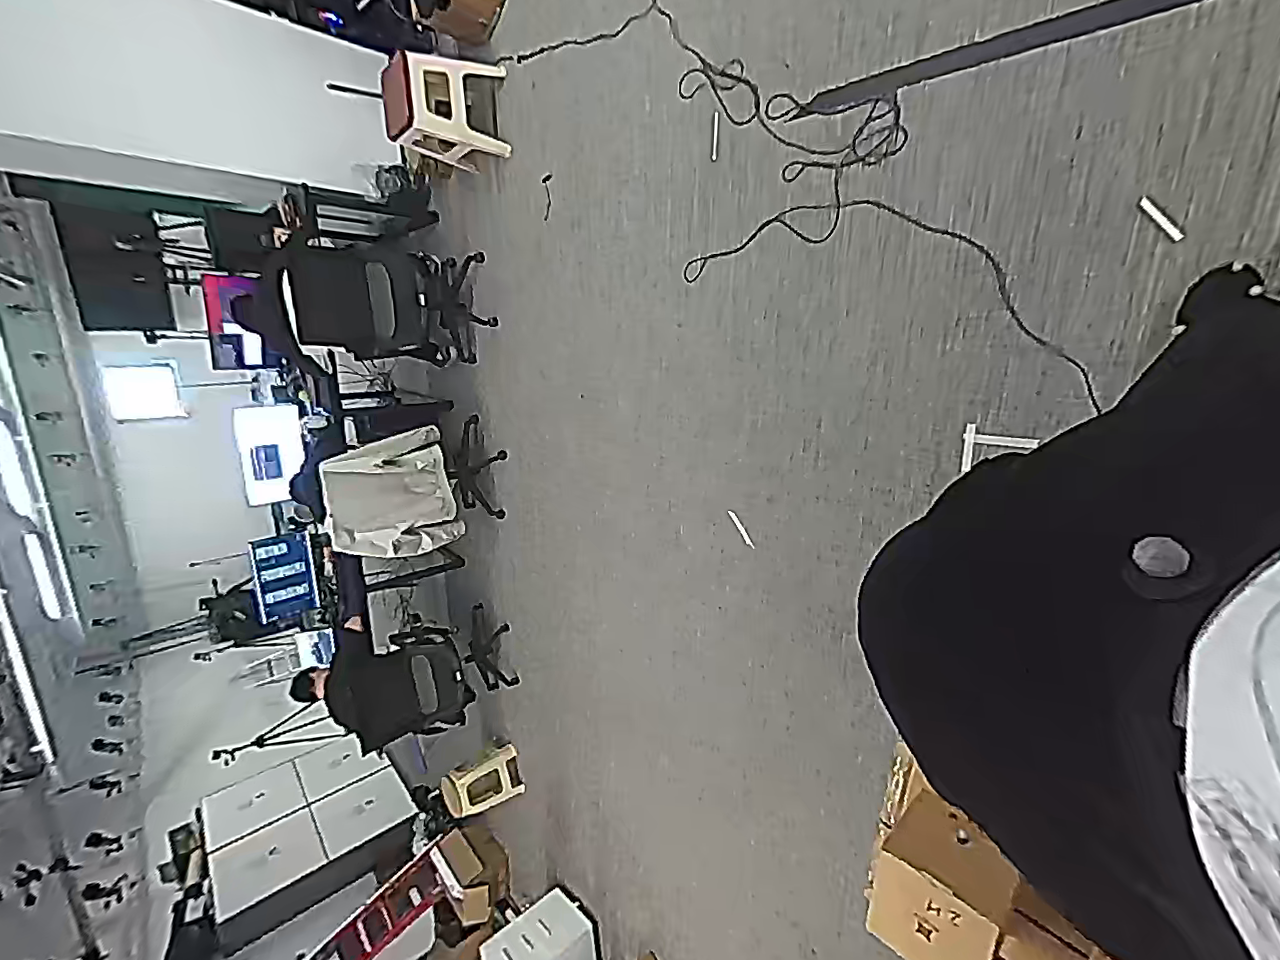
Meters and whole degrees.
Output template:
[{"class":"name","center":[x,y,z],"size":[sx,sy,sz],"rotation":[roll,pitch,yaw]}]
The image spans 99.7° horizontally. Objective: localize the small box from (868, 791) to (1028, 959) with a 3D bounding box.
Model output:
[{"class":"small box","center":[0.491,0.652,0.863],"size":[0.168,0.176,0.179],"rotation":[17,111,44]}]
